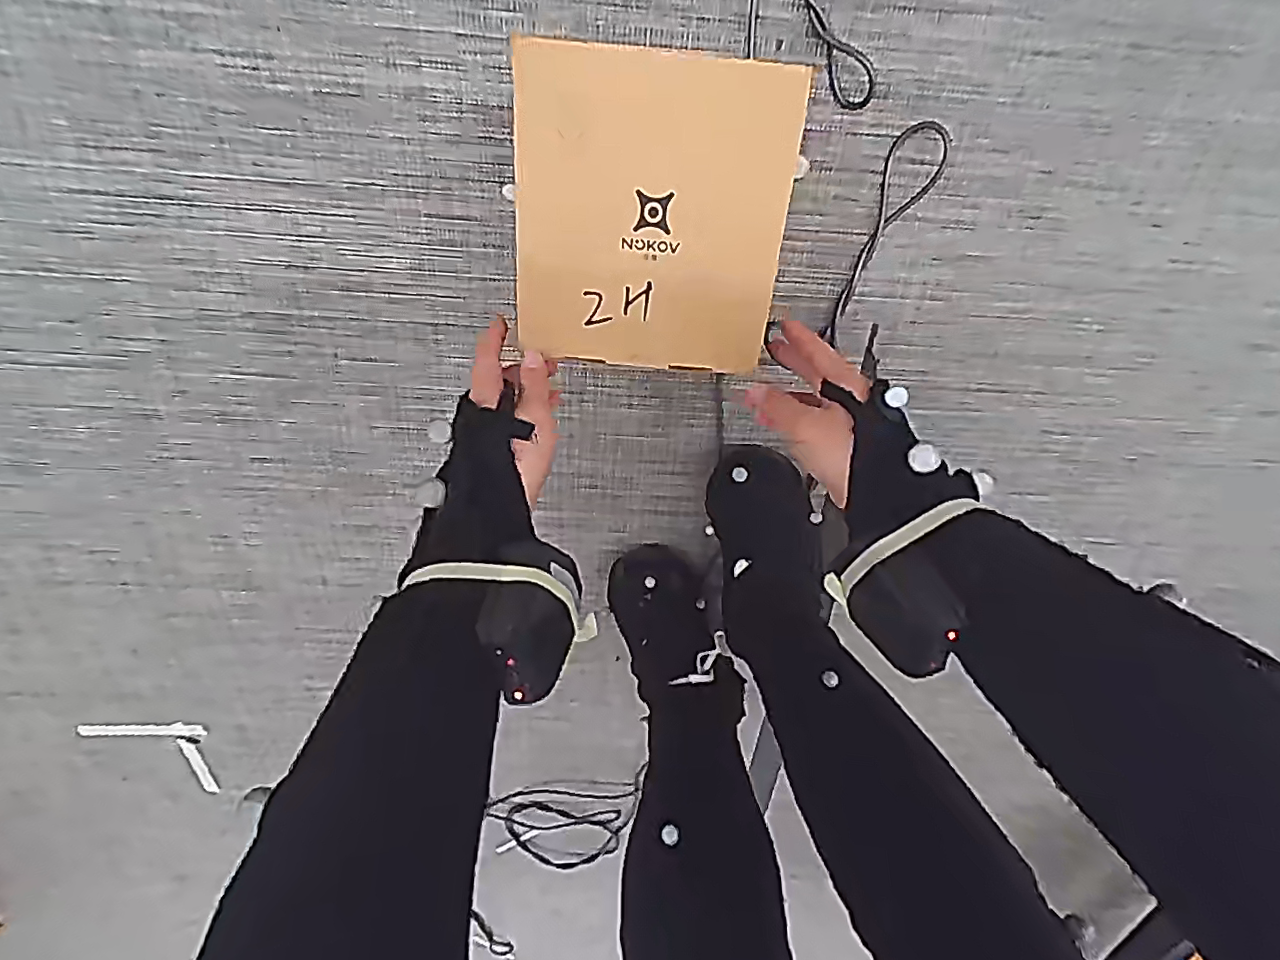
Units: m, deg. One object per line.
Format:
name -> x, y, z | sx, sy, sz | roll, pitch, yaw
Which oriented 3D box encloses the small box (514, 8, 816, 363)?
small box -> 0.006, -0.199, 0.394 | 0.168, 0.176, 0.179 | 5, 118, -2
